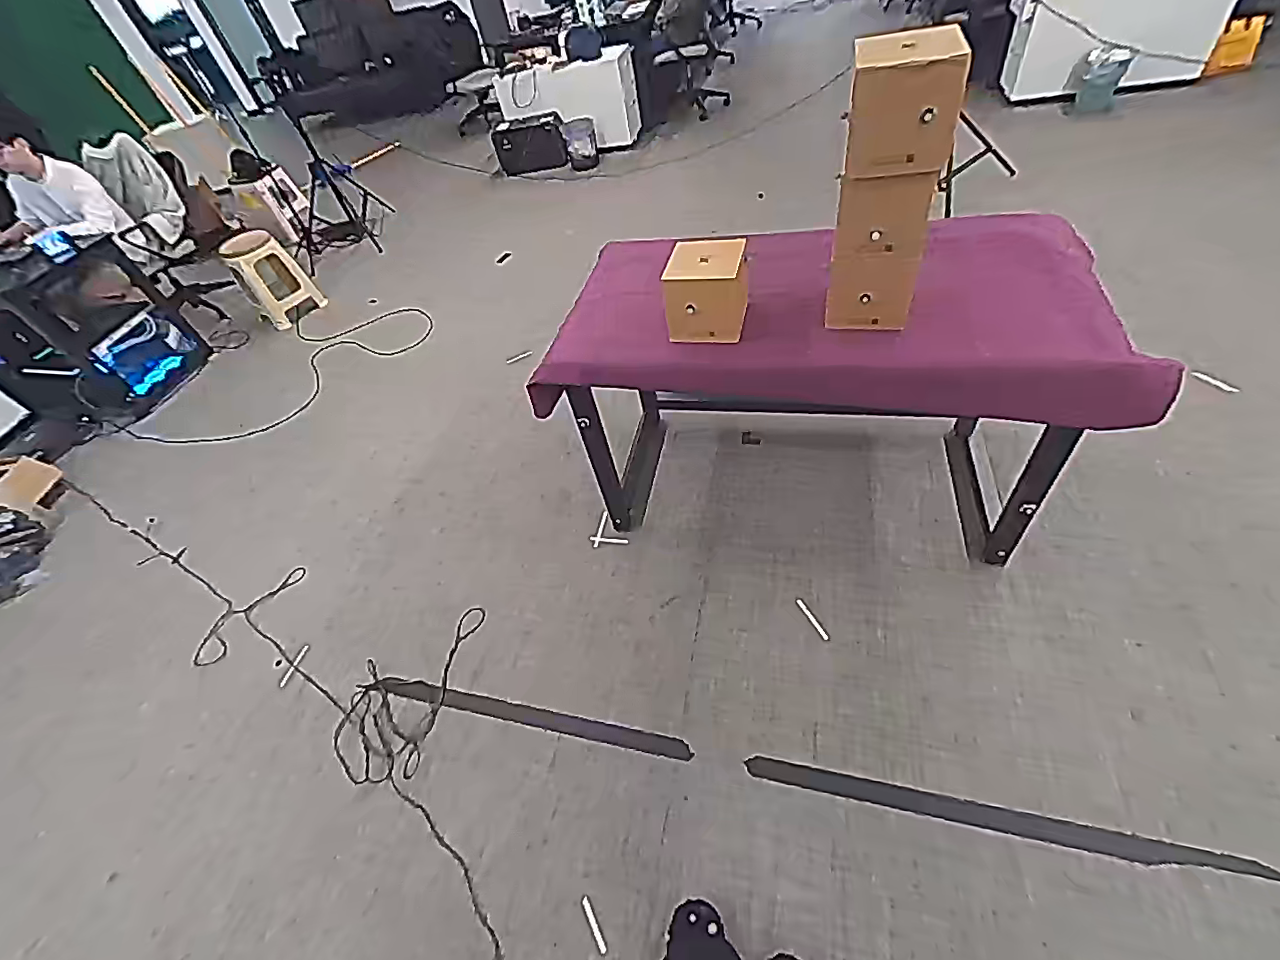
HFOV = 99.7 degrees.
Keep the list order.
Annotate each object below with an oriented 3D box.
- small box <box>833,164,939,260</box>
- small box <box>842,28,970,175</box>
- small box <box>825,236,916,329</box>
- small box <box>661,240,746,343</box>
[{"bbox_3d":[0.481,-0.559,1.075,0.168,0.176,0.179,6,52,18],"label":"small box"},{"bbox_3d":[0.450,-0.648,0.941,0.168,0.176,0.179,4,50,15],"label":"small box"},{"bbox_3d":[0.505,-0.450,1.195,0.168,0.176,0.179,7,51,18],"label":"small box"},{"bbox_3d":[0.156,-0.437,1.264,0.168,0.176,0.179,5,50,17],"label":"small box"}]
